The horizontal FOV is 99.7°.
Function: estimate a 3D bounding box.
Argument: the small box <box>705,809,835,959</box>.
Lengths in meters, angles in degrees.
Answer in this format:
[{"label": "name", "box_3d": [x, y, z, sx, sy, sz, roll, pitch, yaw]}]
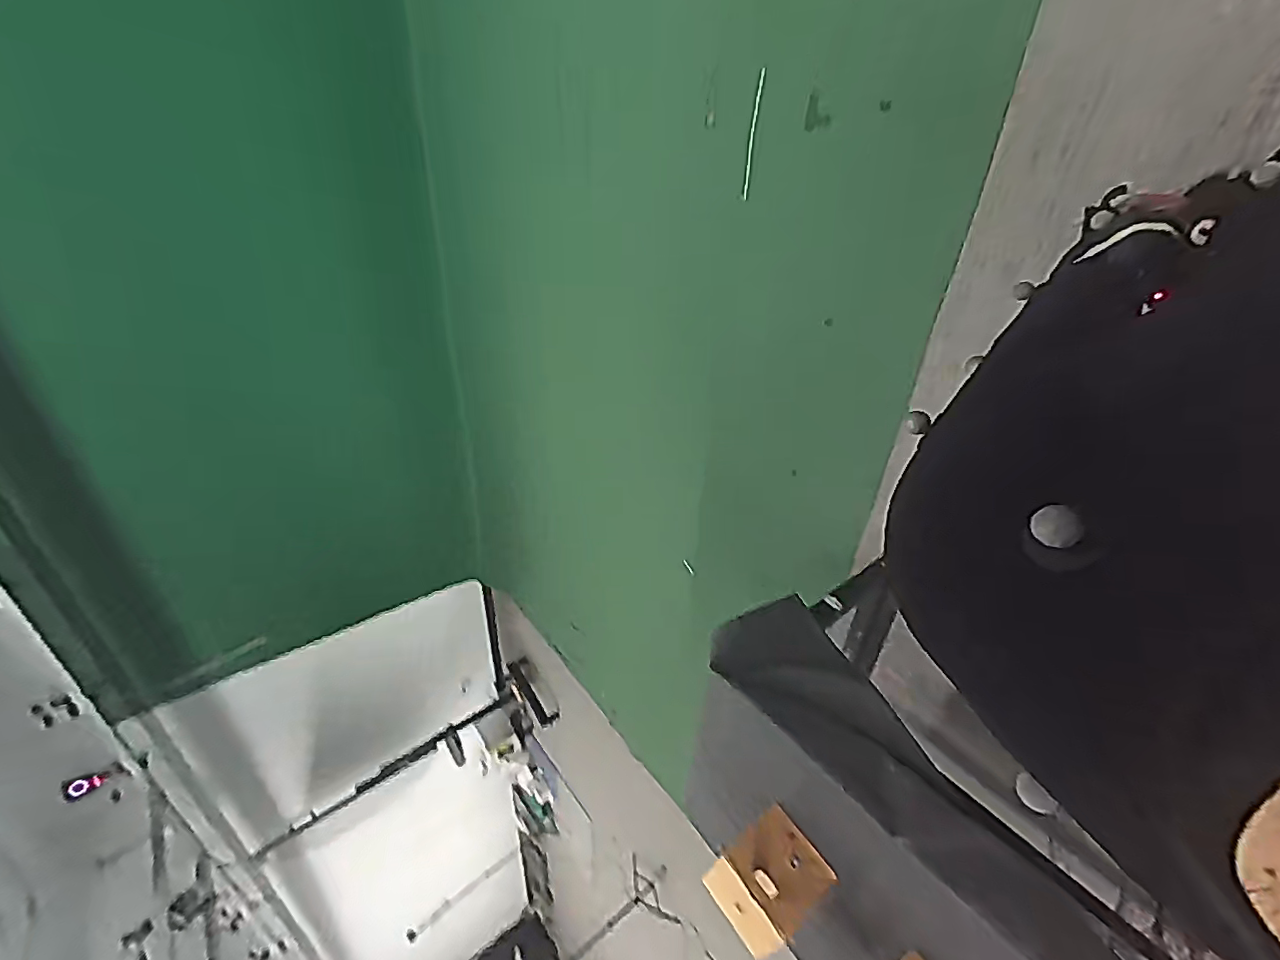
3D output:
[{"label": "small box", "box_3d": [0.264, 0.820, 1.101, 0.168, 0.176, 0.179, 45, 139, 33]}]
